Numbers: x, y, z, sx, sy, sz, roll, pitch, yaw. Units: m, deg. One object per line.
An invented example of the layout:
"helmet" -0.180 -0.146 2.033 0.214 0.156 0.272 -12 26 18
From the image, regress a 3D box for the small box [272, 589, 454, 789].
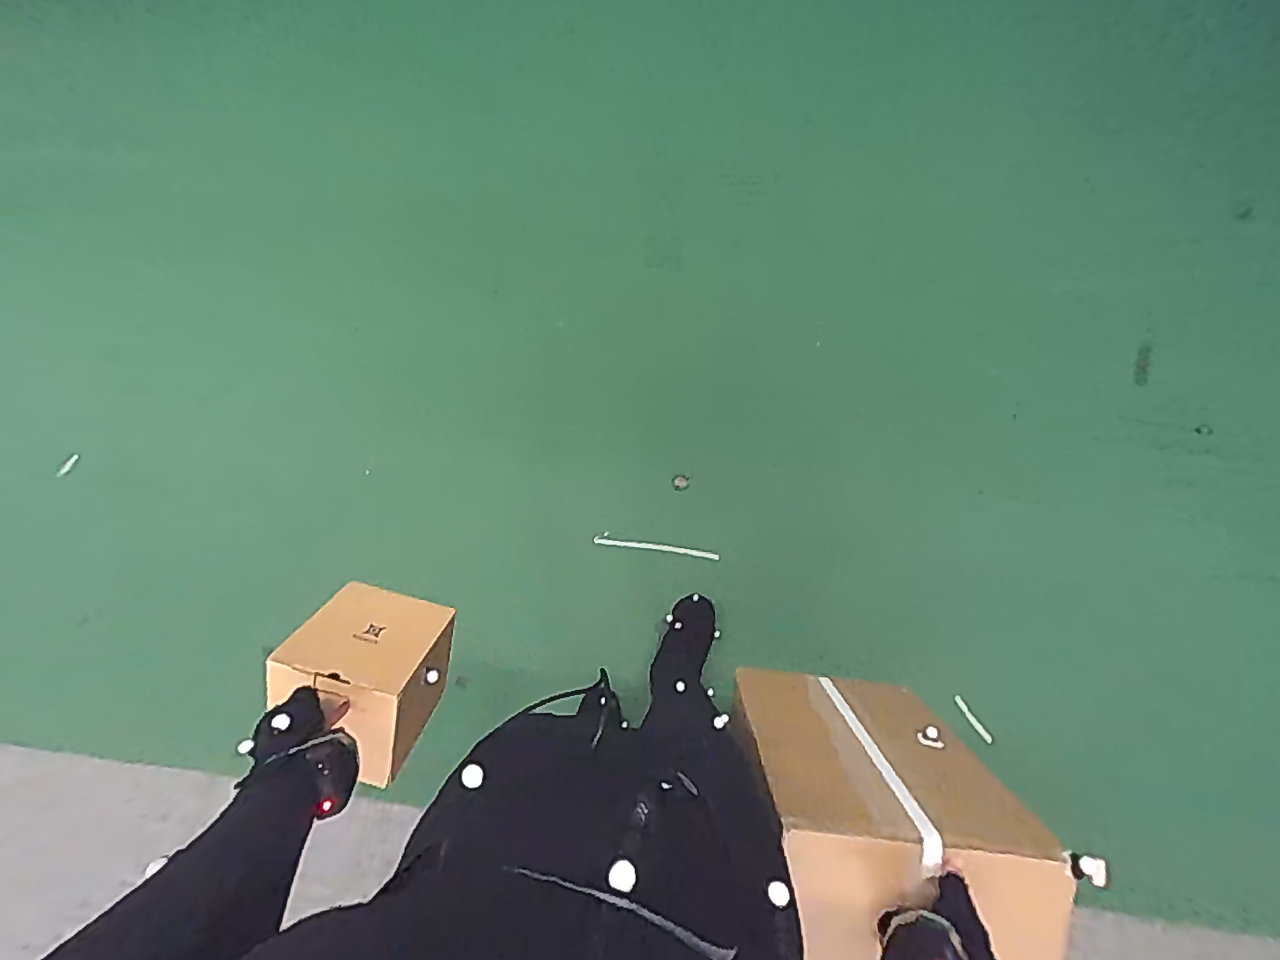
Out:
"small box" -0.385 0.288 0.762 0.168 0.179 0.176 15 112 -1
